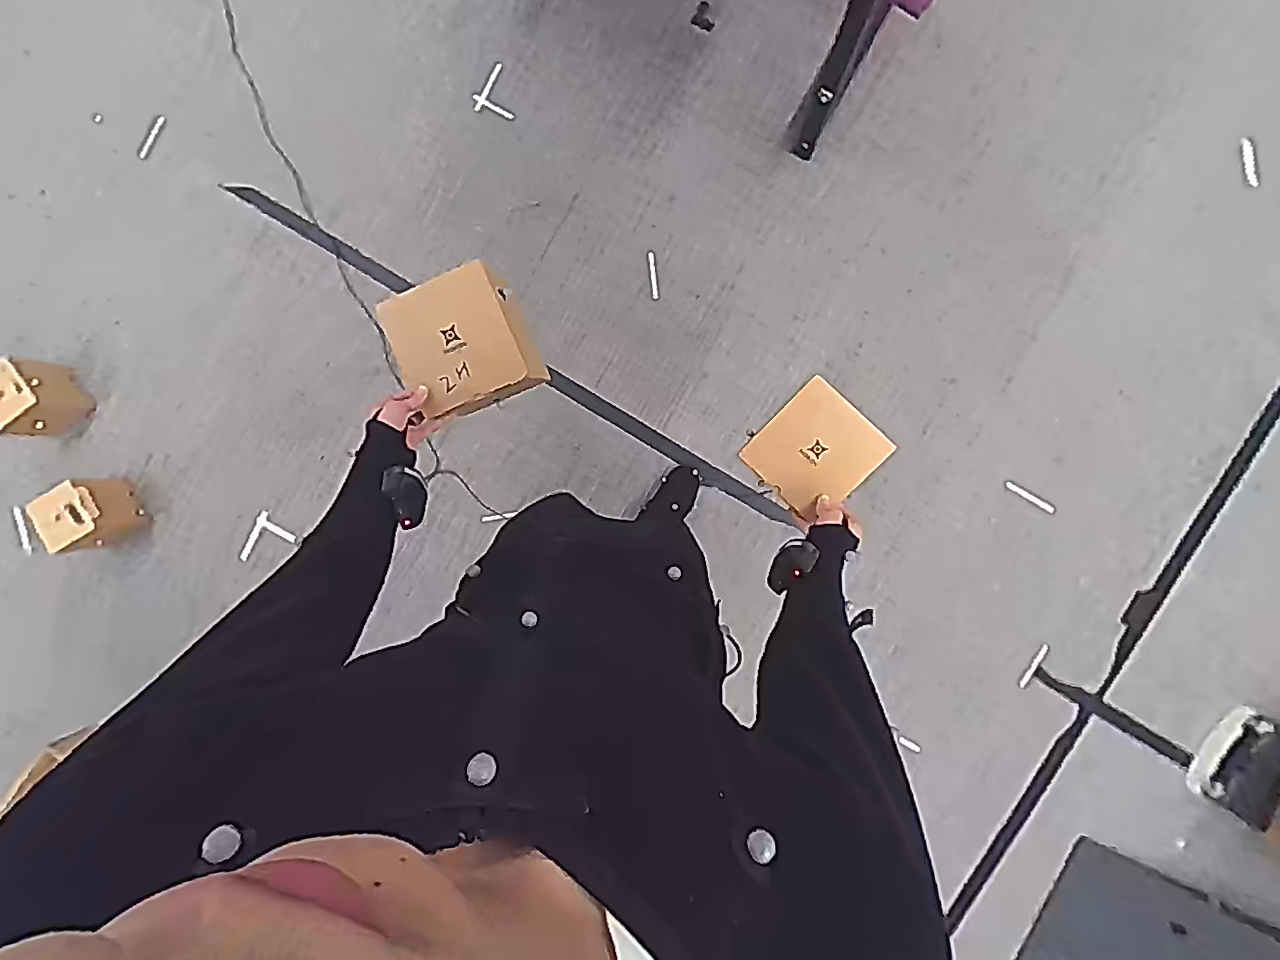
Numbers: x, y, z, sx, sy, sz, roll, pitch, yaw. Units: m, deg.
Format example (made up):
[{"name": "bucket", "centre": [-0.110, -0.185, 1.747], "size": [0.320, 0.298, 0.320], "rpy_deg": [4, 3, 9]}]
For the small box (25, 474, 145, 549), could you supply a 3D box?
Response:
[{"name": "small box", "centre": [-1.676, 0.089, 1.650], "size": [0.179, 0.176, 0.168], "rpy_deg": [-28, 90, 4]}]

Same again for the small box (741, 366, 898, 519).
[{"name": "small box", "centre": [0.282, -0.060, 0.897], "size": [0.168, 0.176, 0.179], "rpy_deg": [44, 100, 6]}]

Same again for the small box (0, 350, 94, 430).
[{"name": "small box", "centre": [-1.851, -0.266, 1.650], "size": [0.179, 0.176, 0.168], "rpy_deg": [-35, 90, 5]}]

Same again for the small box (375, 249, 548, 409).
[{"name": "small box", "centre": [-0.258, -0.218, 0.826], "size": [0.168, 0.176, 0.179], "rpy_deg": [-22, 98, 5]}]
